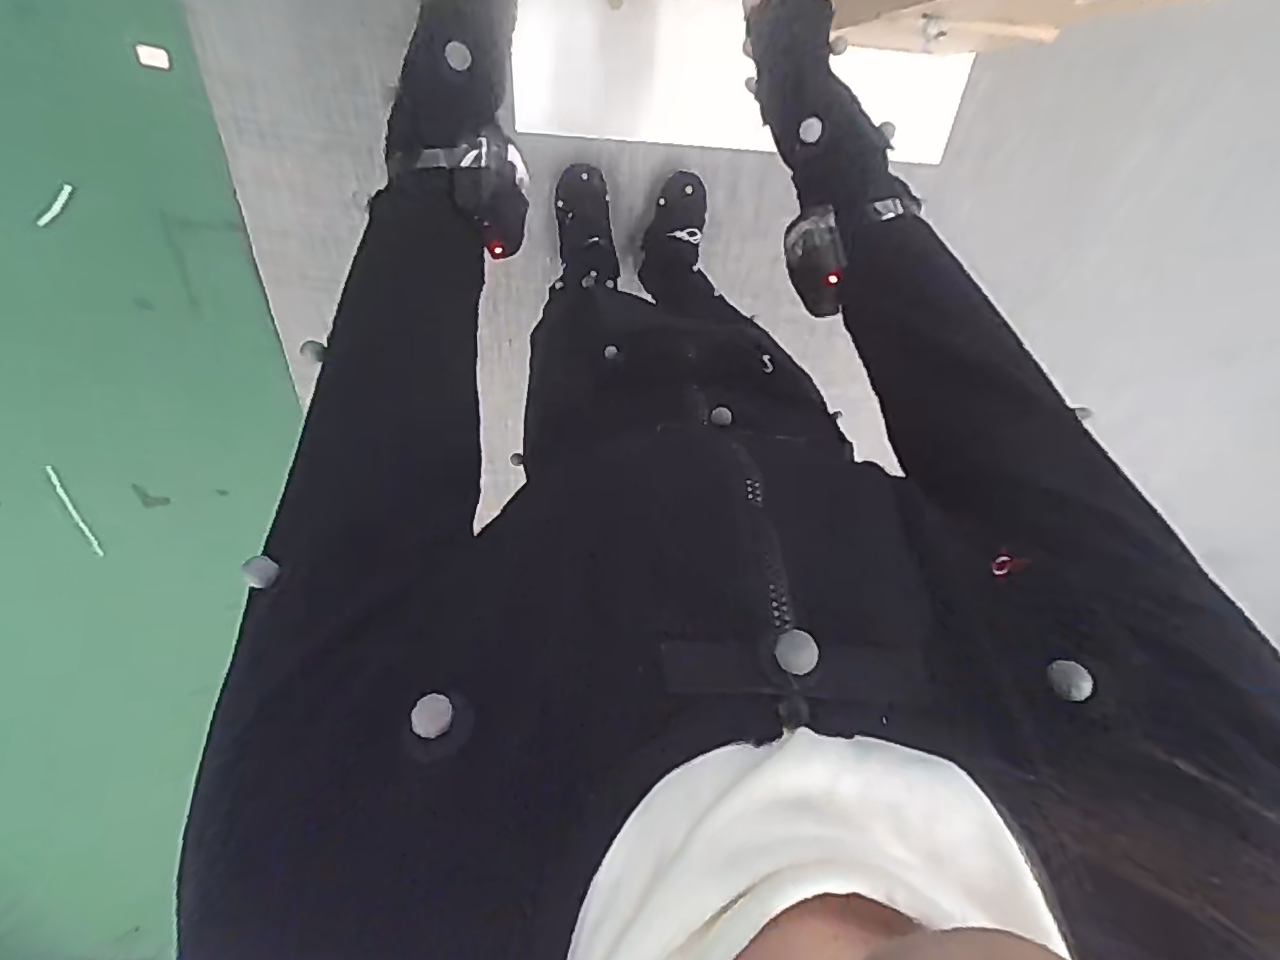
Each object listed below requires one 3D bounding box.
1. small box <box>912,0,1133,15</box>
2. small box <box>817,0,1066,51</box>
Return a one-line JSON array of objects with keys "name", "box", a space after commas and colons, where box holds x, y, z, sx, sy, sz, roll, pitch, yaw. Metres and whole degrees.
[{"name": "small box", "box": [0.282, -0.407, 0.329, 0.168, 0.176, 0.179, -2, 125, -5]}, {"name": "small box", "box": [0.272, -0.496, 0.467, 0.168, 0.176, 0.179, 0, 125, -6]}]
